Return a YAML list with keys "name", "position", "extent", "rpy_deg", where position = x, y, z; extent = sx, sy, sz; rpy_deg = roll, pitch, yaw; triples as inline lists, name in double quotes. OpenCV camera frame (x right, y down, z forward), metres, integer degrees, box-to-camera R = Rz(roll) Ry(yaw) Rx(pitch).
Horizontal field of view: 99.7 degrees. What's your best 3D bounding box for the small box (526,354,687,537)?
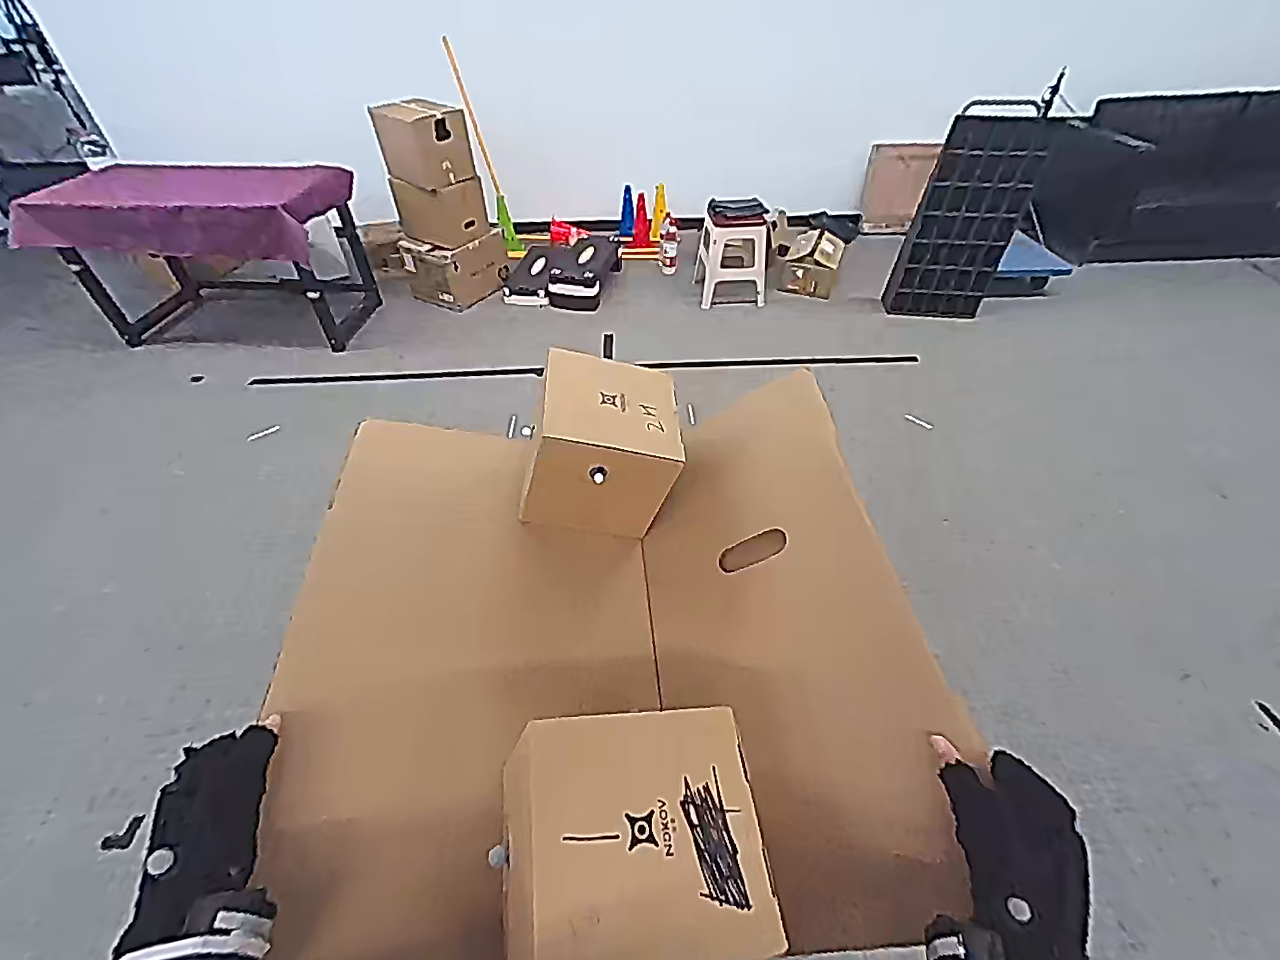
- name: "small box"
  position: [-0.053, -0.040, 0.737]
  extent: [0.179, 0.176, 0.168]
  rpy_deg: [11, 48, -15]
